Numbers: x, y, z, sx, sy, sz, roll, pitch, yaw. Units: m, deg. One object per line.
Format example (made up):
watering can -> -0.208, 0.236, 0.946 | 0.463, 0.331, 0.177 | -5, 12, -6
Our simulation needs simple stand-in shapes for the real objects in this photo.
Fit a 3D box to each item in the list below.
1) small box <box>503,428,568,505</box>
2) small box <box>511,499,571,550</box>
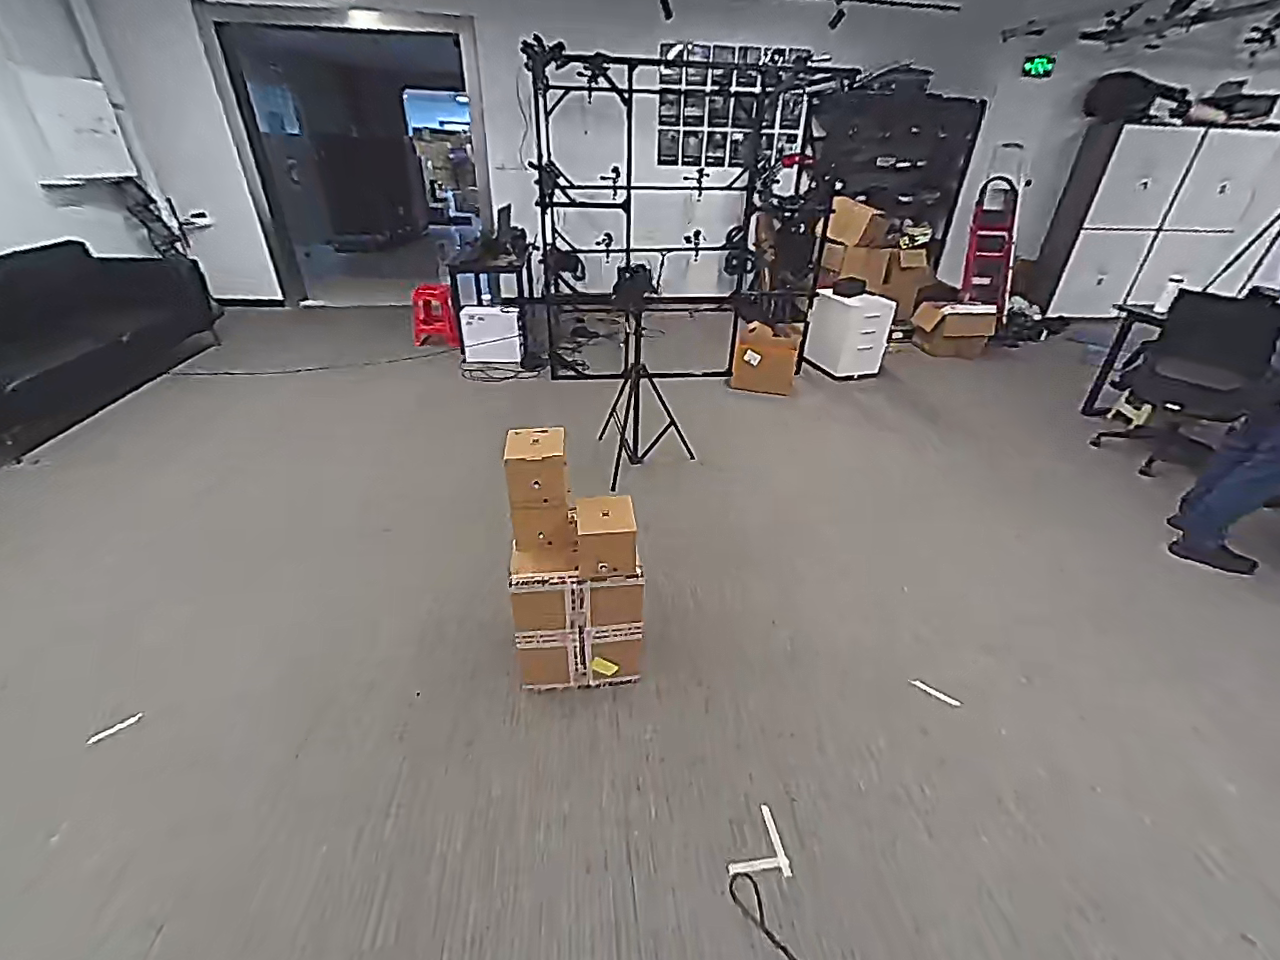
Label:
small box -> -0.302, -0.036, 1.600 | 0.168, 0.176, 0.179 | -4, 34, -6
small box -> -0.308, 0.097, 1.697 | 0.168, 0.176, 0.179 | -5, 34, -7
